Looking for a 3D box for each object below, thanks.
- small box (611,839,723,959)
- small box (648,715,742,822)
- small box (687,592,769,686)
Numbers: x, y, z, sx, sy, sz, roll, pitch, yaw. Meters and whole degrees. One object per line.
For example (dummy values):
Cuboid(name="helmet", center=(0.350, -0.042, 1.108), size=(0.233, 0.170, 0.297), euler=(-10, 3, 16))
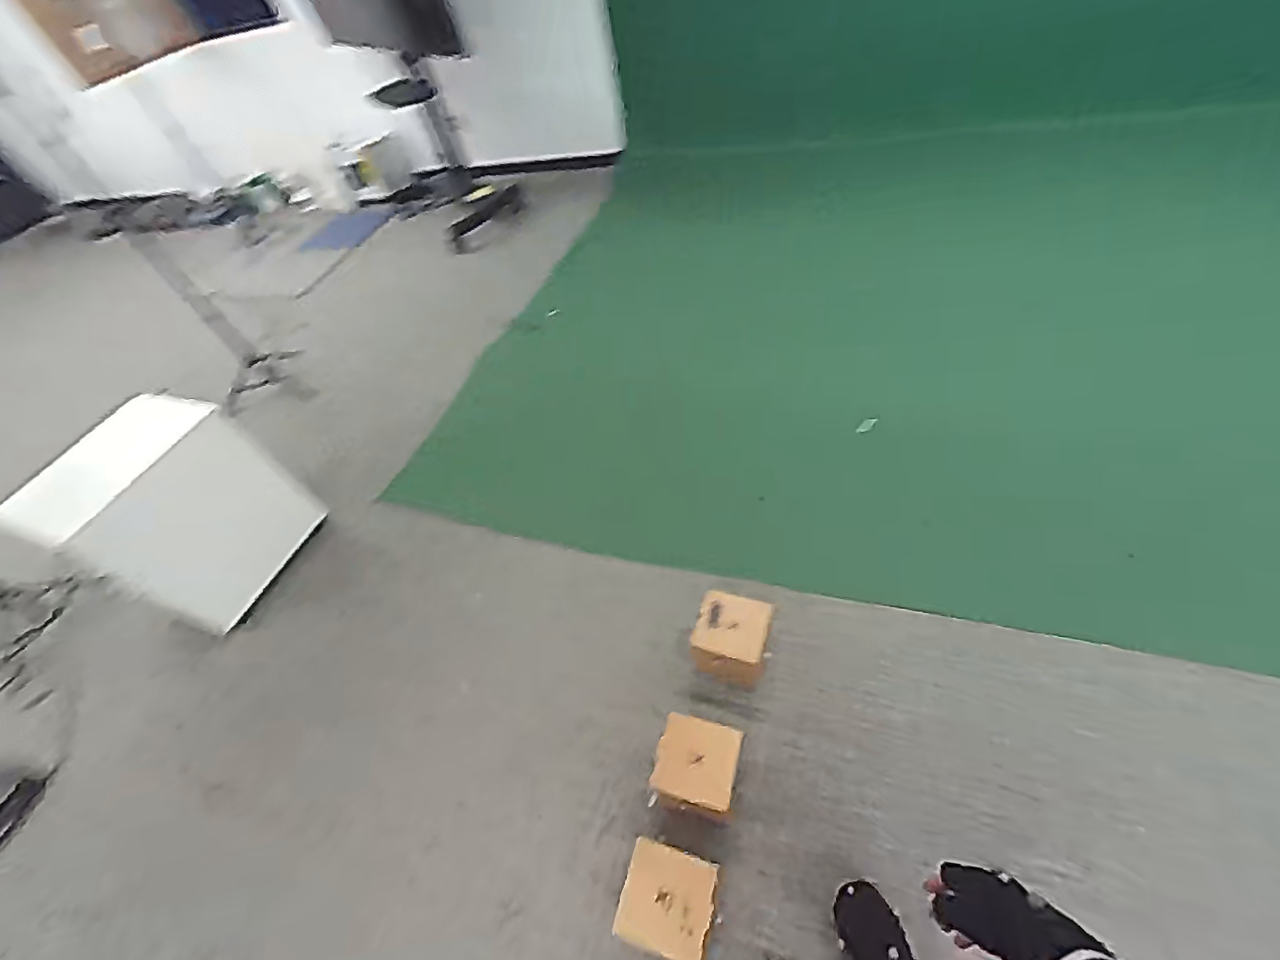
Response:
Cuboid(name="small box", center=(0.064, 0.865, 1.102), size=(0.179, 0.176, 0.168), euler=(8, 53, 19))
Cuboid(name="small box", center=(0.136, 0.673, 1.254), size=(0.179, 0.176, 0.168), euler=(6, 52, 19))
Cuboid(name="small box", center=(0.239, 0.426, 1.440), size=(0.179, 0.176, 0.168), euler=(11, 54, 20))
